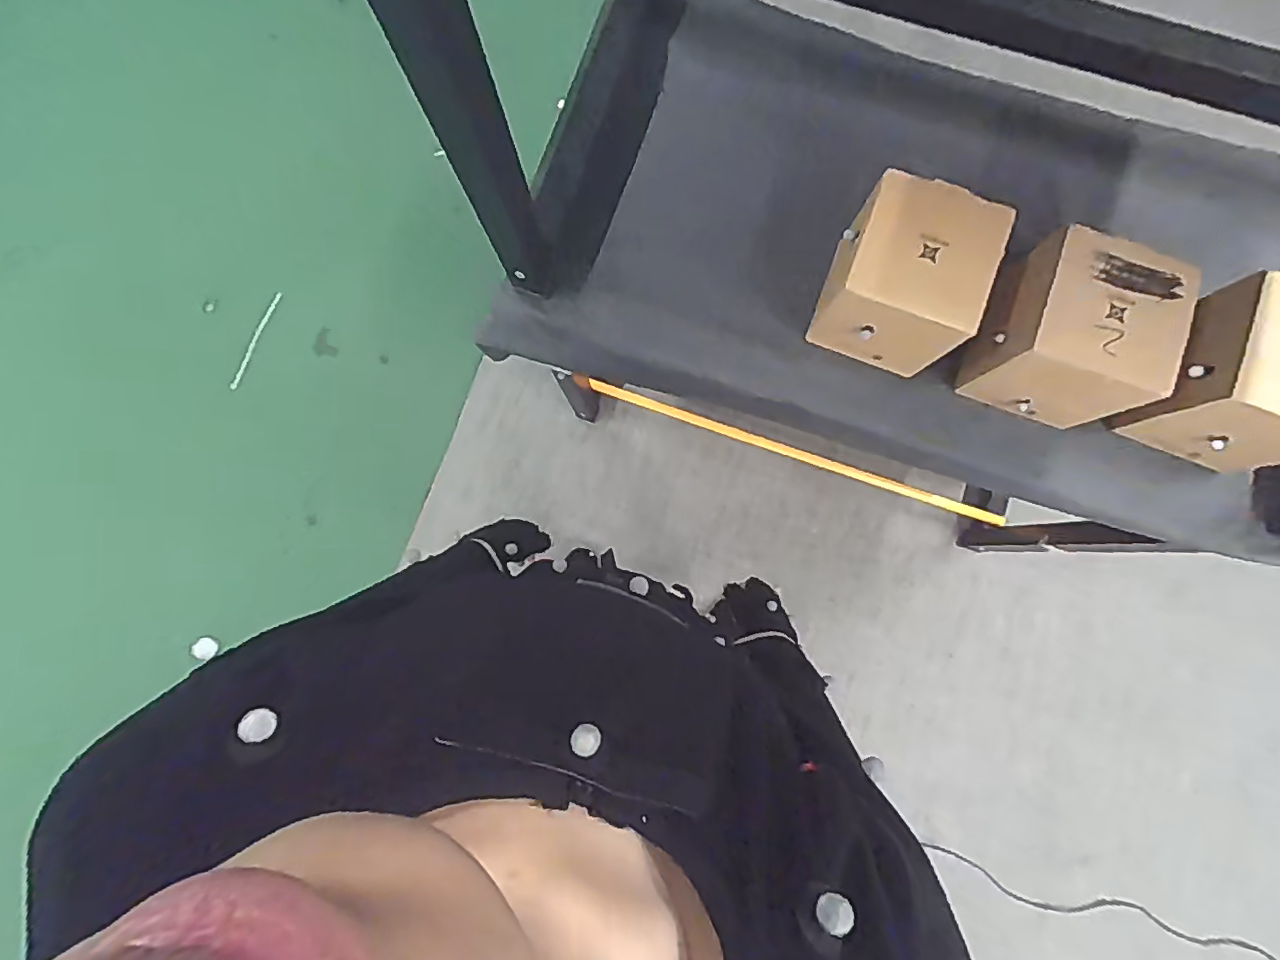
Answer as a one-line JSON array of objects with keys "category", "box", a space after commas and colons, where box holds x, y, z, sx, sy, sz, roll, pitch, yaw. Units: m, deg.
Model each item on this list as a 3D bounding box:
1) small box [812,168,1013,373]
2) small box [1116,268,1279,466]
[{"category": "small box", "box": [0.351, -0.268, 0.733, 0.168, 0.176, 0.179, 21, 83, 4]}, {"category": "small box", "box": [0.782, -0.132, 0.705, 0.168, 0.176, 0.179, 22, 82, 4]}]
